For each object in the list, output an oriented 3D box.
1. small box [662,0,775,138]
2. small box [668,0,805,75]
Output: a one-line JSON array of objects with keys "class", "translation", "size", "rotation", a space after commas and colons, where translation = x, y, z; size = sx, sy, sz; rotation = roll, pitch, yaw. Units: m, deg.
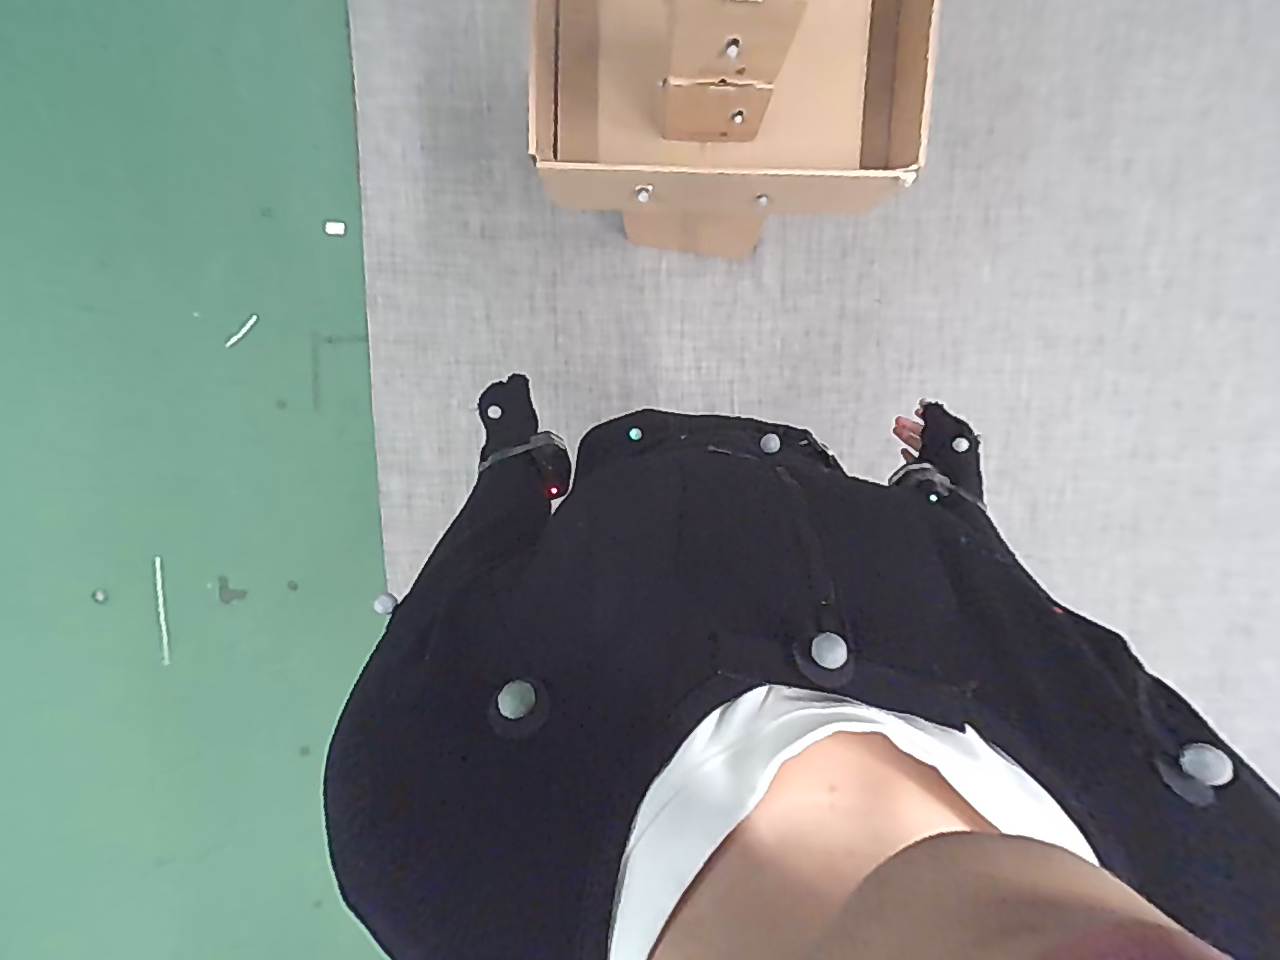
[{"class": "small box", "translation": [0.123, -0.687, 0.879], "size": [0.168, 0.176, 0.179], "rotation": [1, 95, -1]}, {"class": "small box", "translation": [0.125, -0.676, 0.715], "size": [0.168, 0.176, 0.179], "rotation": [1, 98, -1]}]
